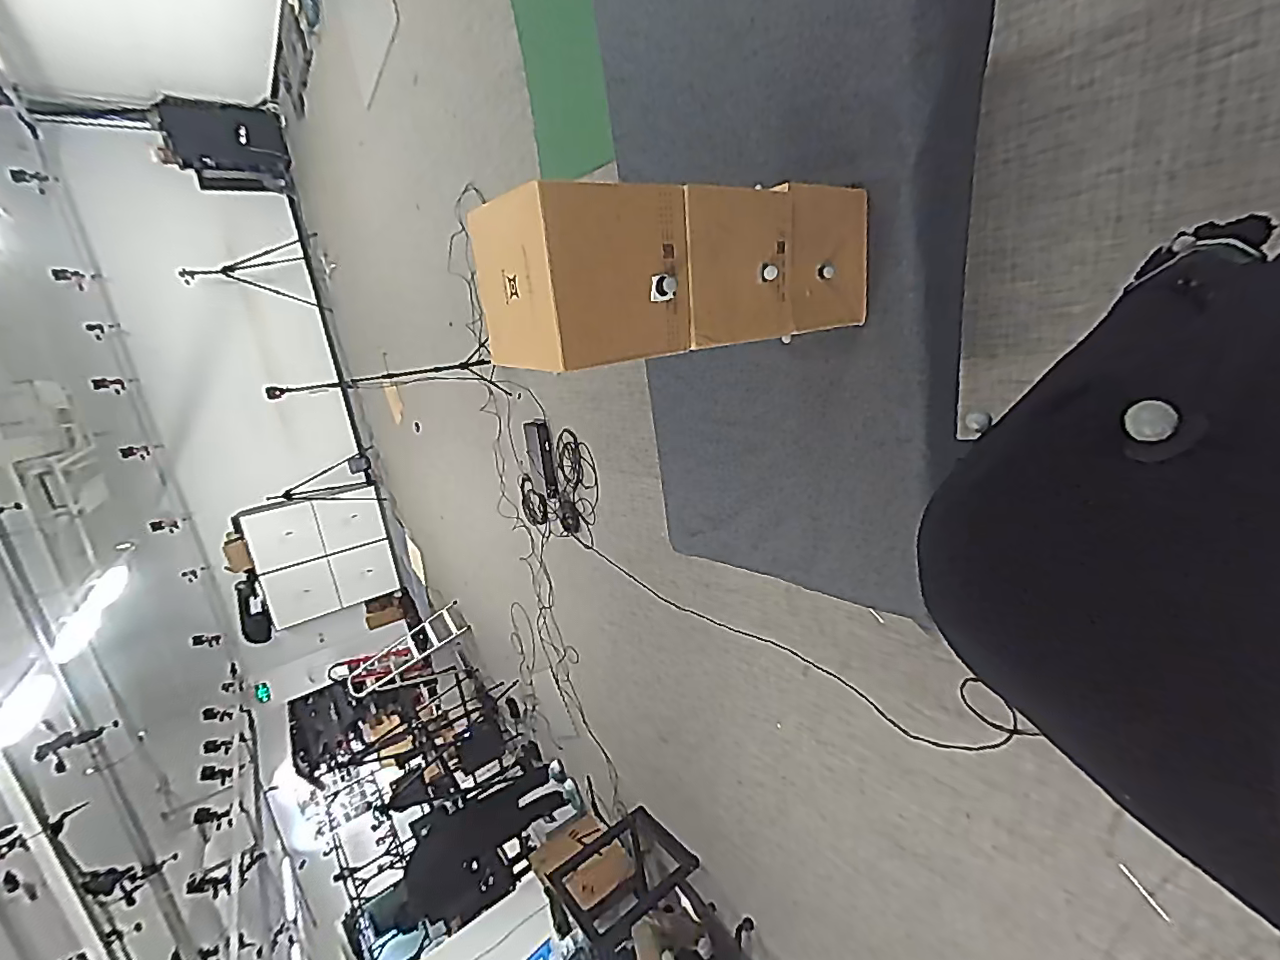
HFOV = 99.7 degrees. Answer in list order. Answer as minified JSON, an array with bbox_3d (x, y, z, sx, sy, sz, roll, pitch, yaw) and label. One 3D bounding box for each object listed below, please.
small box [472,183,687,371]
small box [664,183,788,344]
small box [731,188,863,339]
[{"bbox_3d":[-0.065,-0.221,0.606,0.179,0.176,0.168,18,121,51],"label":"small box"},{"bbox_3d":[0.066,-0.264,0.691,0.179,0.176,0.168,17,118,54],"label":"small box"},{"bbox_3d":[0.201,-0.305,0.775,0.168,0.176,0.179,16,118,53],"label":"small box"}]
